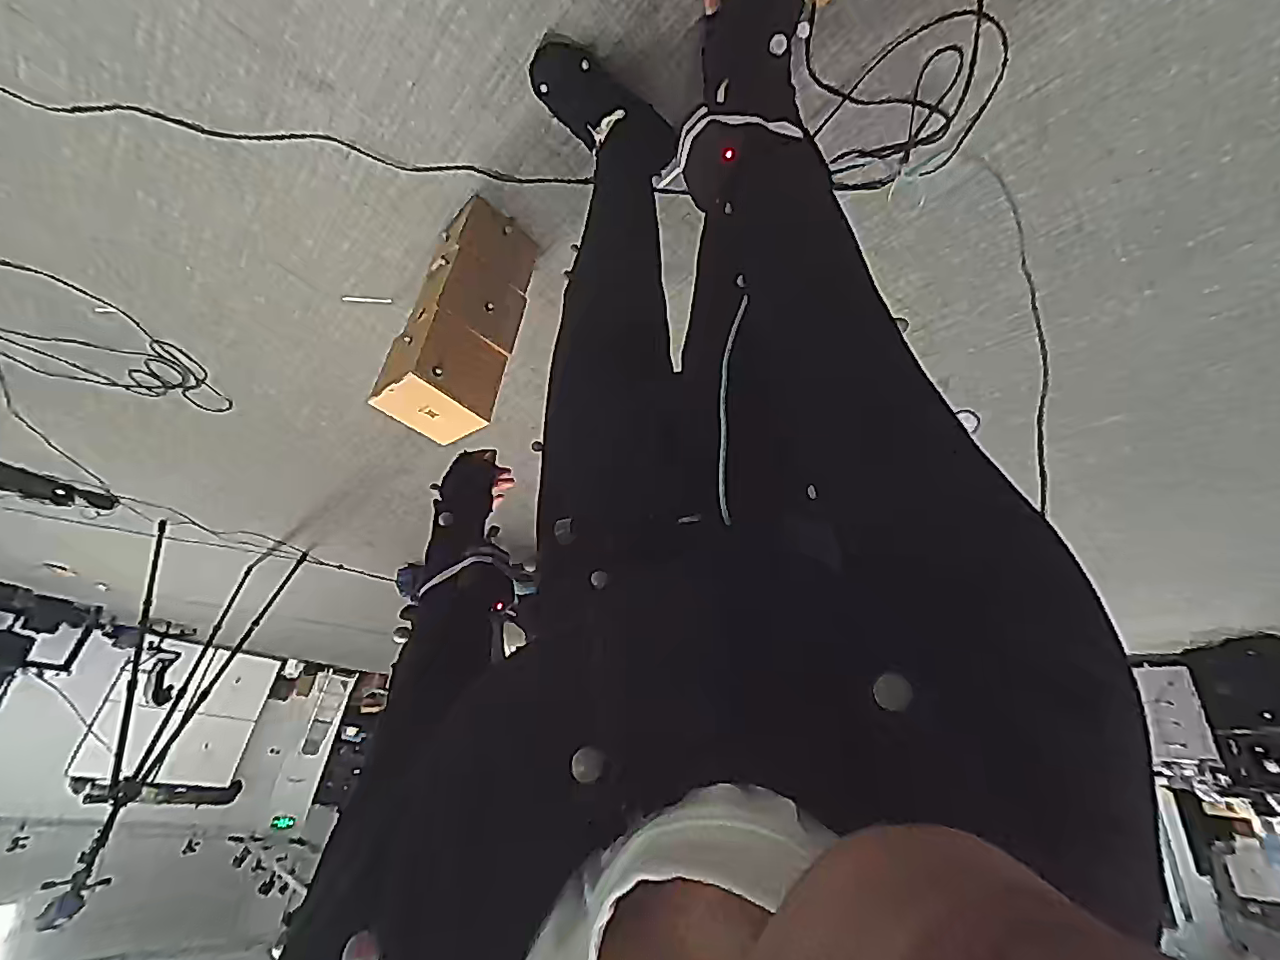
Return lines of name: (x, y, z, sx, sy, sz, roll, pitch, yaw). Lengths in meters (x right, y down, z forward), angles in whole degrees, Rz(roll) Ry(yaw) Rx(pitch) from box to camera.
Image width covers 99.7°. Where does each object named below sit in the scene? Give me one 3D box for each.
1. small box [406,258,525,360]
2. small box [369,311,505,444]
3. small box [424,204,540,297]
small box: (-0.375, -0.345, 1.161, 0.168, 0.176, 0.179, -20, 142, 40)
small box: (-0.399, -0.202, 1.088, 0.168, 0.176, 0.179, -16, 143, 36)
small box: (-0.356, -0.493, 1.236, 0.179, 0.176, 0.168, 30, 147, -33)
